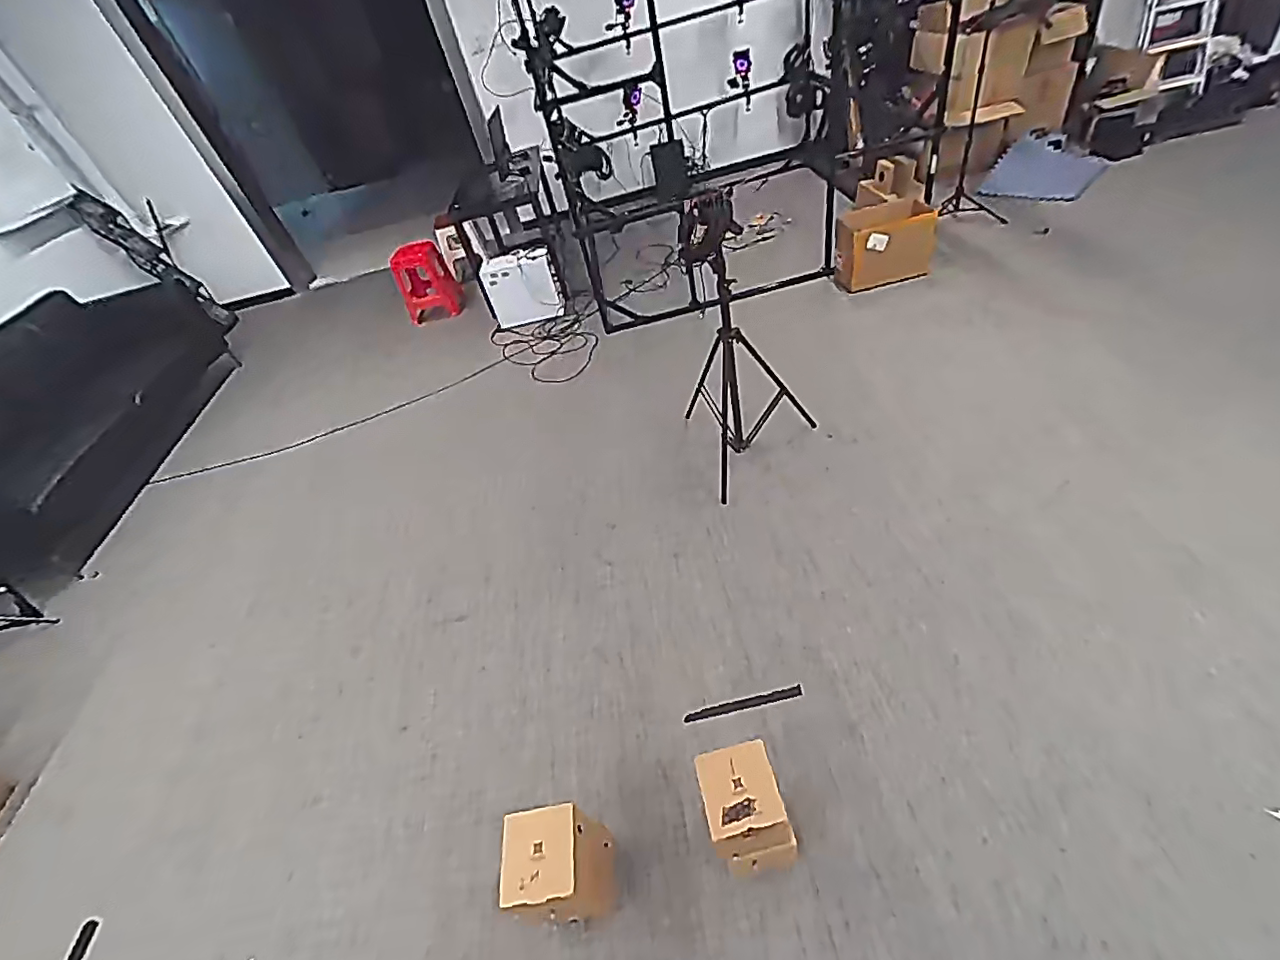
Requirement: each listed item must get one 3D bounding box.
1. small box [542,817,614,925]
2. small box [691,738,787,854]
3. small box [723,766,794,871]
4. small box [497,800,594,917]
[{"bbox_3d":[-0.165,0.969,1.339,0.168,0.176,0.179,-13,43,5],"label":"small box"},{"bbox_3d":[0.227,0.723,1.229,0.168,0.176,0.179,-16,41,1],"label":"small box"},{"bbox_3d":[0.273,0.840,1.335,0.168,0.176,0.179,-16,42,1],"label":"small box"},{"bbox_3d":[-0.207,0.859,1.224,0.168,0.176,0.179,-14,44,5],"label":"small box"}]
